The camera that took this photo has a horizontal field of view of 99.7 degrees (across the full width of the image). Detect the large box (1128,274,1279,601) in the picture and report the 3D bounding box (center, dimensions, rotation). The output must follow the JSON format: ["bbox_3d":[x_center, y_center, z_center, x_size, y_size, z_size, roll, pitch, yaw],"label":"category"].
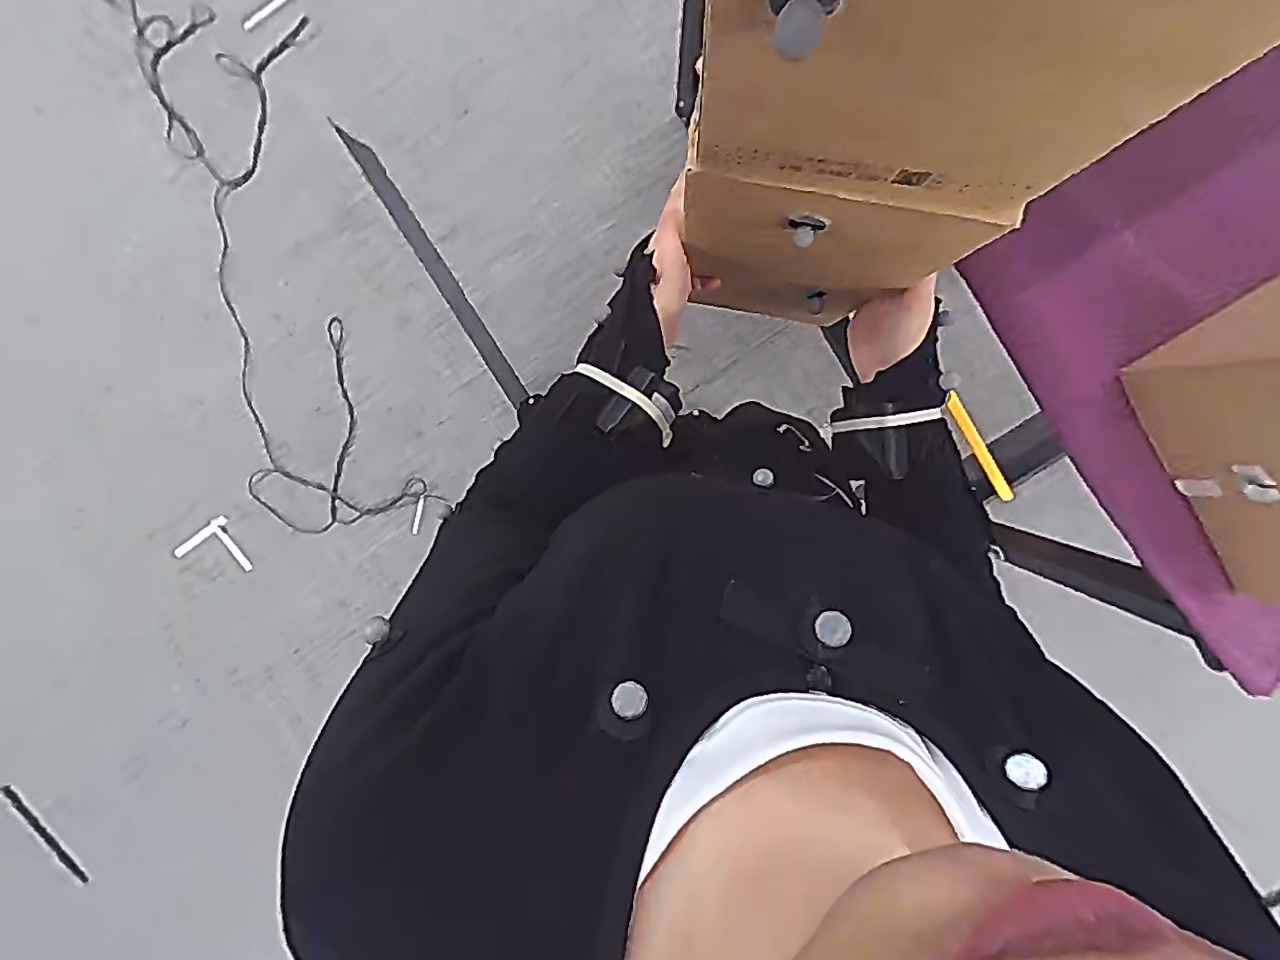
[{"bbox_3d":[0.775,-0.086,0.450,0.408,0.320,0.320,-33,96,4],"label":"large box"}]

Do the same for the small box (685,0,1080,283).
[{"bbox_3d":[0.127,-0.237,0.342,0.179,0.176,0.168,10,97,1],"label":"small box"}]
